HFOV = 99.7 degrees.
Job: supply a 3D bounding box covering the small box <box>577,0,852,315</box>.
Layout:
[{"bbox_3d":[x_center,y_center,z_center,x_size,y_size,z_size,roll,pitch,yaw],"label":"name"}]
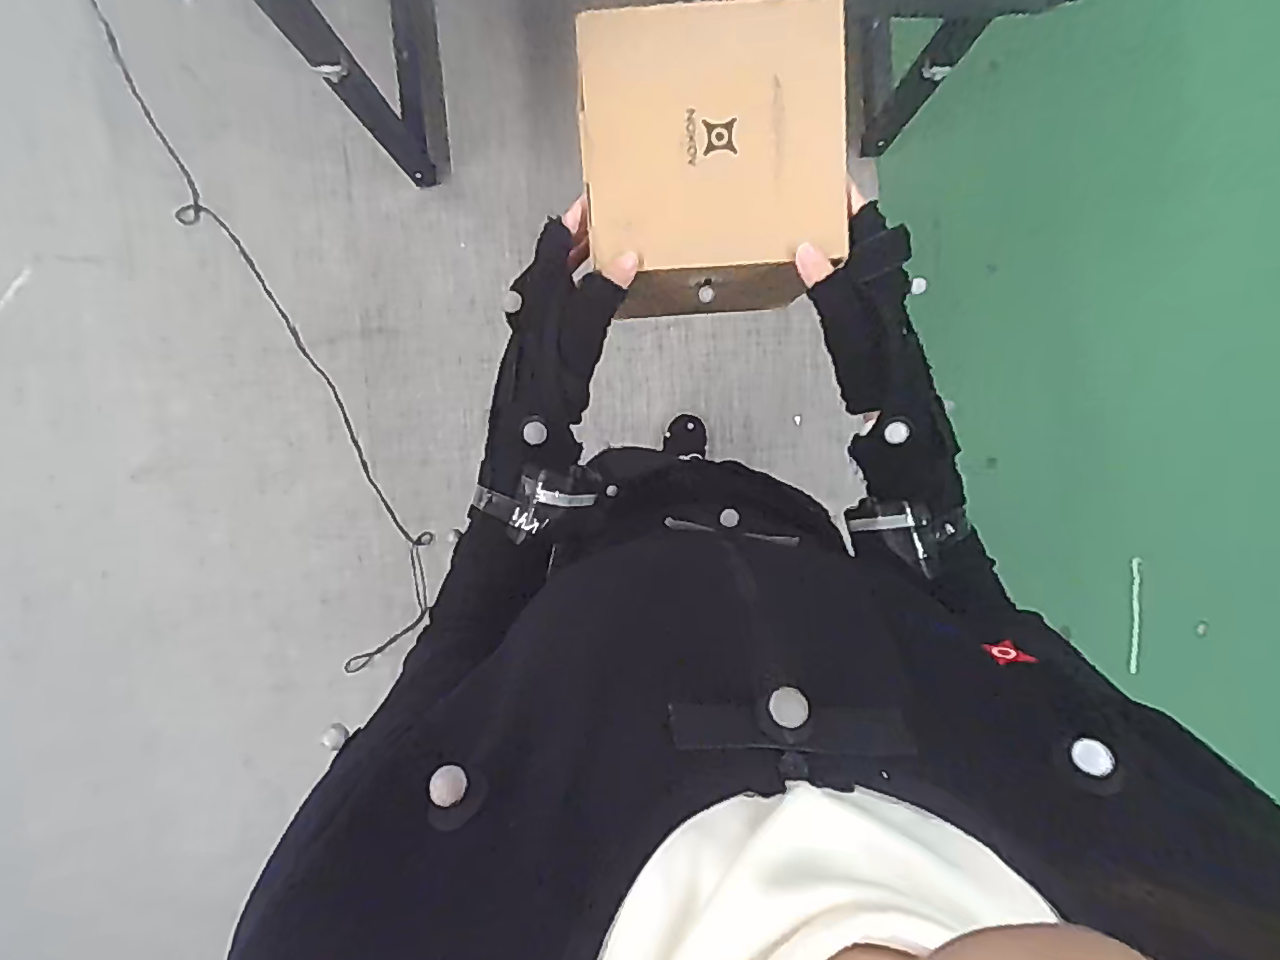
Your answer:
[{"bbox_3d":[0.052,-0.237,0.438,0.179,0.176,0.168,-5,96,1],"label":"small box"}]
